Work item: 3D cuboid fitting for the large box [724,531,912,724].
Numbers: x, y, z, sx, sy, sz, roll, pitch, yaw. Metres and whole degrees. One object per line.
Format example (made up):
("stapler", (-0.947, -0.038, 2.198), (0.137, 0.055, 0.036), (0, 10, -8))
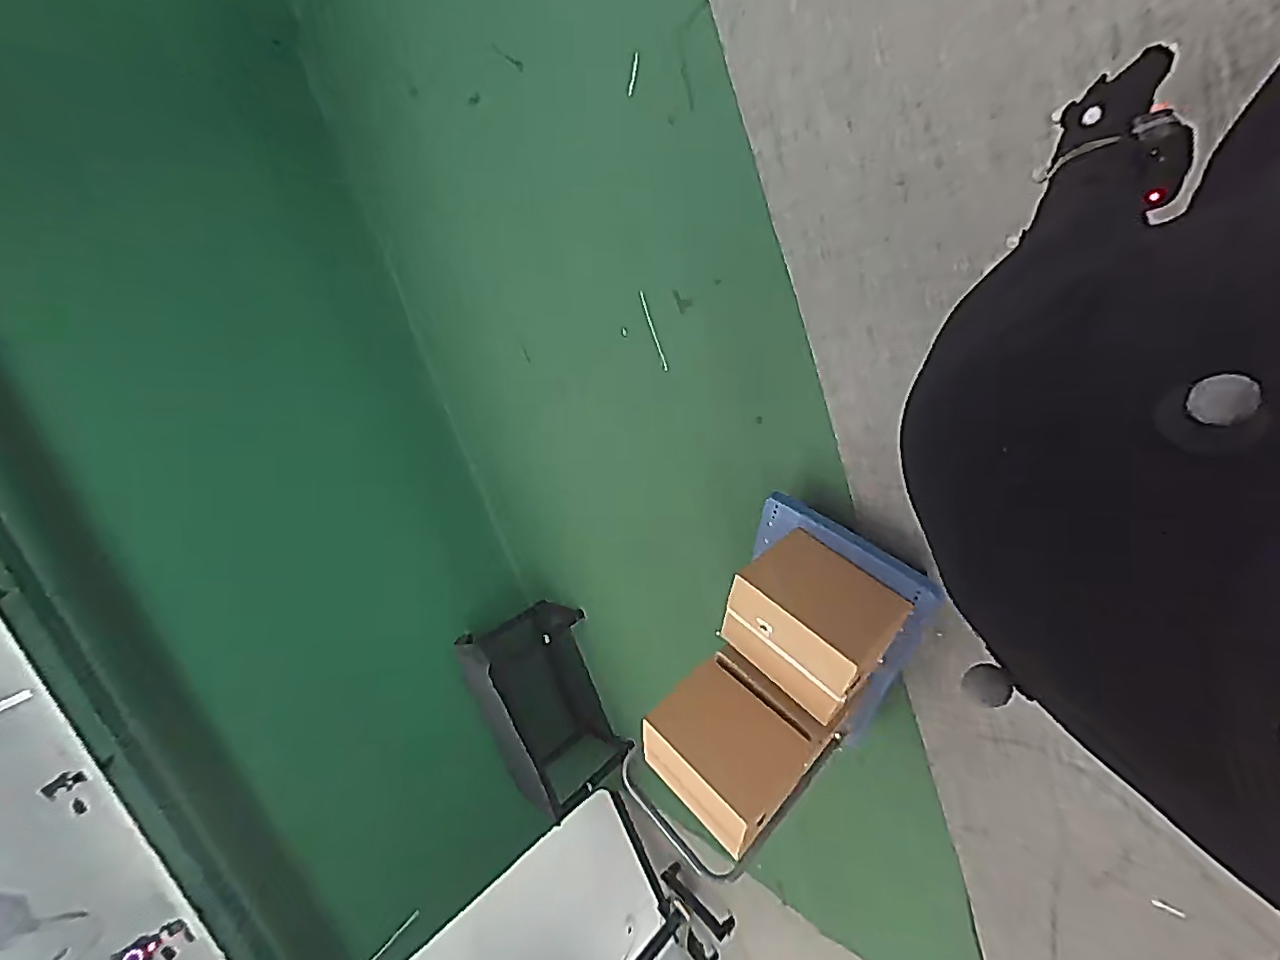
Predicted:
("large box", (0.521, 0.430, 1.635), (0.408, 0.320, 0.320), (37, 140, 33))
